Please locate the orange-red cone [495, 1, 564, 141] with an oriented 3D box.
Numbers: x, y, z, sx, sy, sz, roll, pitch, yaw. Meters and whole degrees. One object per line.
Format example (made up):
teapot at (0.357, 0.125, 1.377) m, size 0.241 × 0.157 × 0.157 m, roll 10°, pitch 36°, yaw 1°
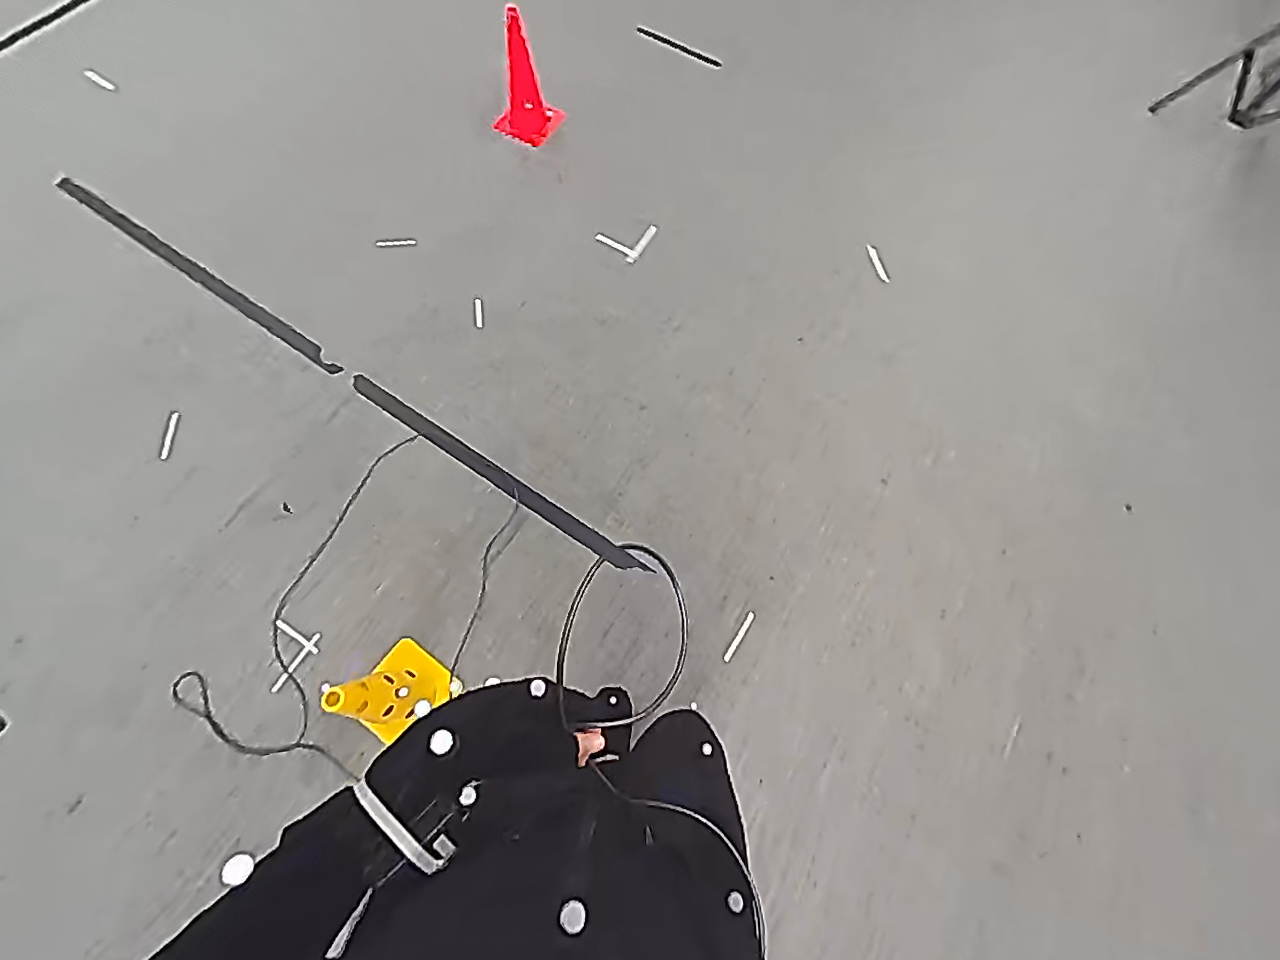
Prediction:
orange-red cone at (-0.395, -1.373, 1.796) m, size 0.199 × 0.360 × 0.198 m, roll 28°, pitch 70°, yaw 9°
